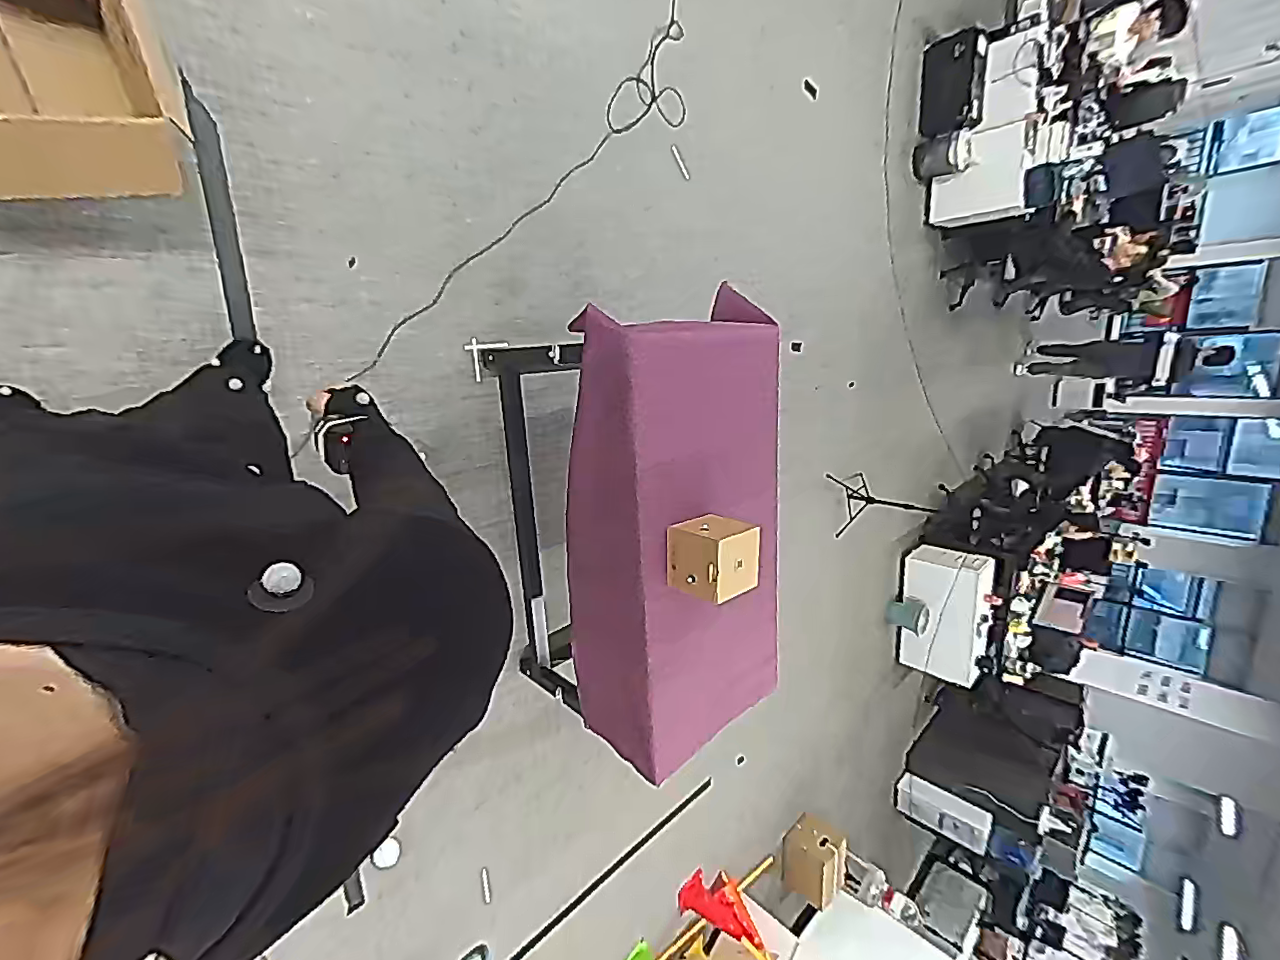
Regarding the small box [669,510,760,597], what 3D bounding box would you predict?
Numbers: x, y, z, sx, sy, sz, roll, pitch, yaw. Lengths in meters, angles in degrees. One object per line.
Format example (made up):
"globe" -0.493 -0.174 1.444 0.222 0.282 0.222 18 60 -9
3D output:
"small box" 0.189 0.181 1.399 0.179 0.176 0.168 -12 107 -43
